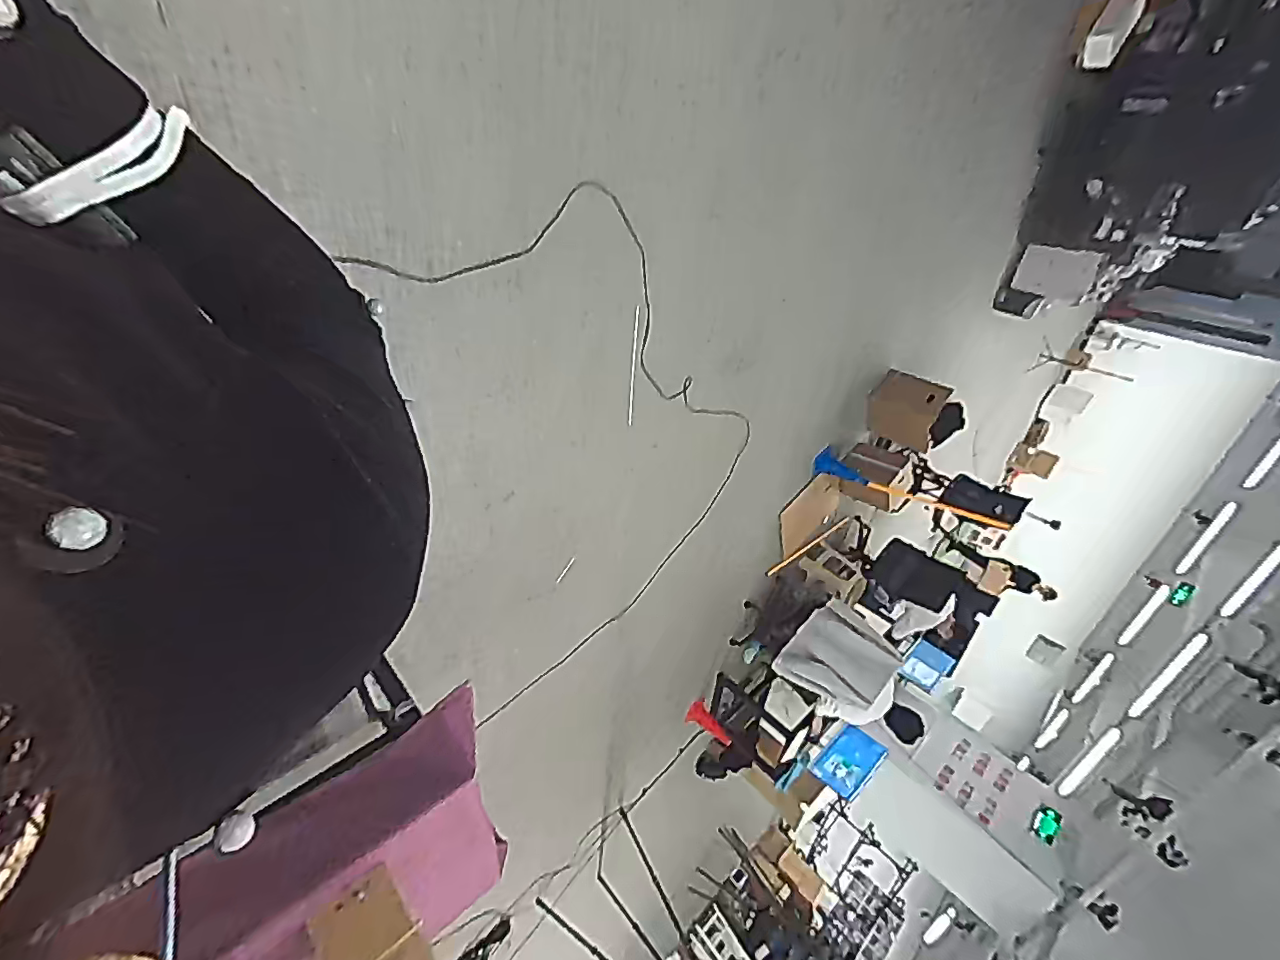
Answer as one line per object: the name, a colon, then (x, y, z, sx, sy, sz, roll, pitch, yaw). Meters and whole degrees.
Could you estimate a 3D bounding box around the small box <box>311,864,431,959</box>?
small box: (-0.573, 0.978, 1.158, 0.168, 0.176, 0.179, -25, 133, -36)
